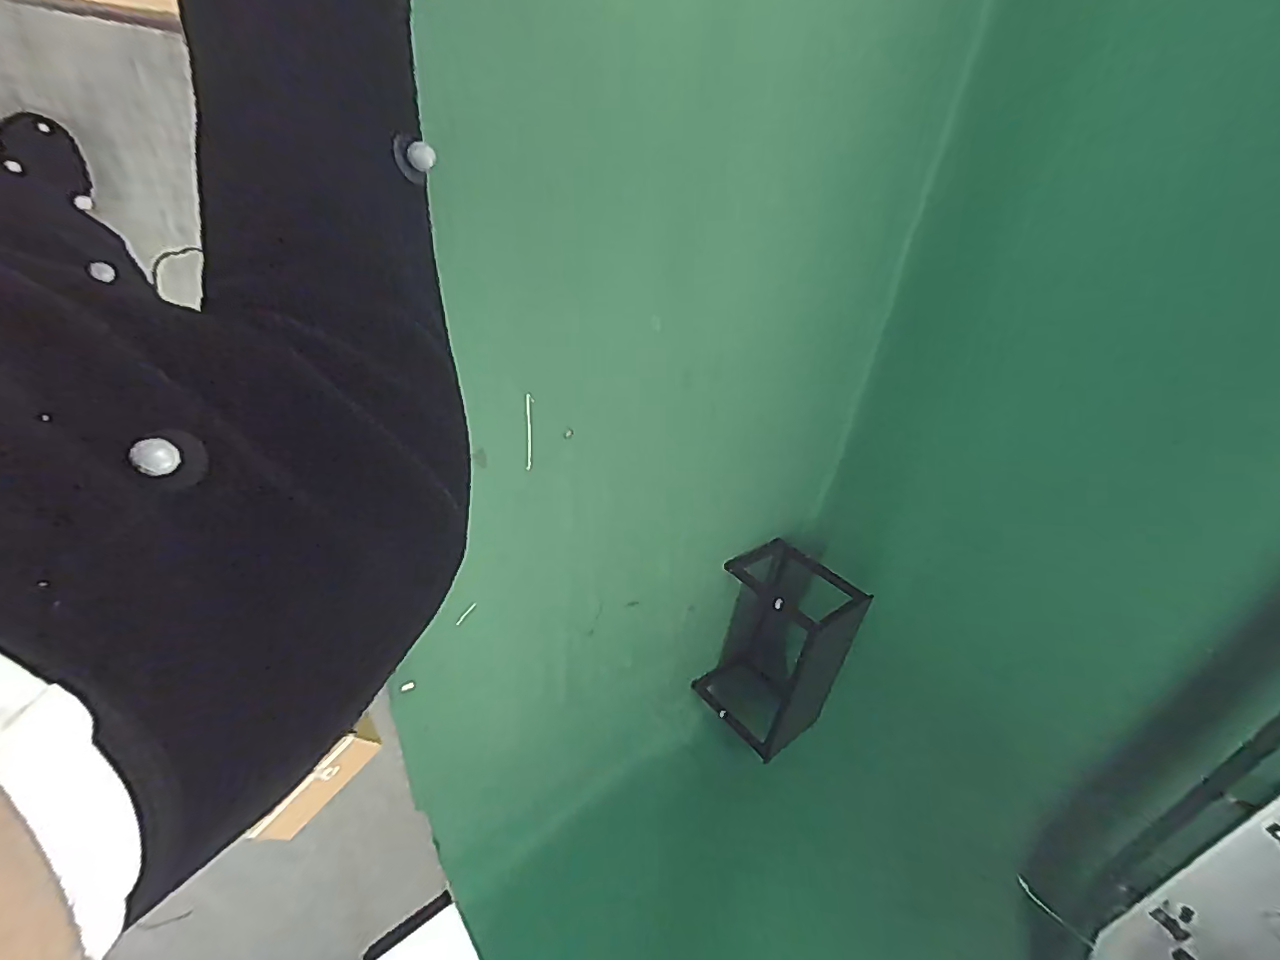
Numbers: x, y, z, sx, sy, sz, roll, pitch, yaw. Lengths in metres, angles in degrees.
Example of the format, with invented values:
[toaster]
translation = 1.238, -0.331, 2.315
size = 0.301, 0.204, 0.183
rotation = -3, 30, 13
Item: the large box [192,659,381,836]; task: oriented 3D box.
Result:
[large box]
translation = -1.168, 0.883, 1.796
size = 0.408, 0.320, 0.320
rotation = -46, 141, -11
